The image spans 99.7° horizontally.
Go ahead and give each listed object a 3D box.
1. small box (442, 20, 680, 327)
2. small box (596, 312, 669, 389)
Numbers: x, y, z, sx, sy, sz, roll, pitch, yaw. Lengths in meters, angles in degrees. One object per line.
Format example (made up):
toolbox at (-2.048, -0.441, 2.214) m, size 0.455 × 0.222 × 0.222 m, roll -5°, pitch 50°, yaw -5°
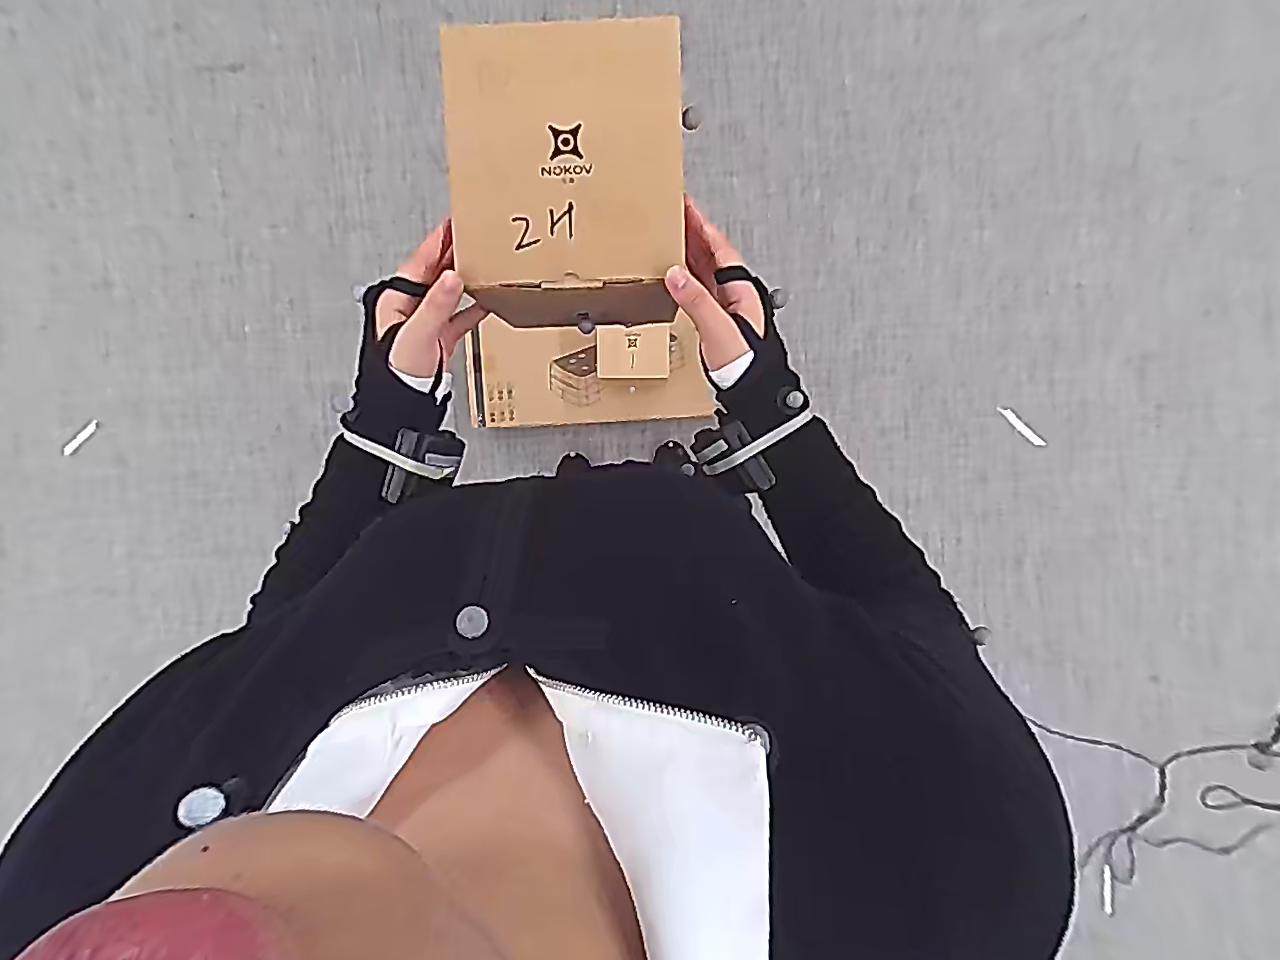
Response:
small box at (-0.054, -0.236, 0.459) m, size 0.168 × 0.176 × 0.179 m, roll -1°, pitch 96°, yaw 1°
small box at (-0.017, -0.319, 1.301) m, size 0.168 × 0.176 × 0.179 m, roll 0°, pitch 93°, yaw 1°
